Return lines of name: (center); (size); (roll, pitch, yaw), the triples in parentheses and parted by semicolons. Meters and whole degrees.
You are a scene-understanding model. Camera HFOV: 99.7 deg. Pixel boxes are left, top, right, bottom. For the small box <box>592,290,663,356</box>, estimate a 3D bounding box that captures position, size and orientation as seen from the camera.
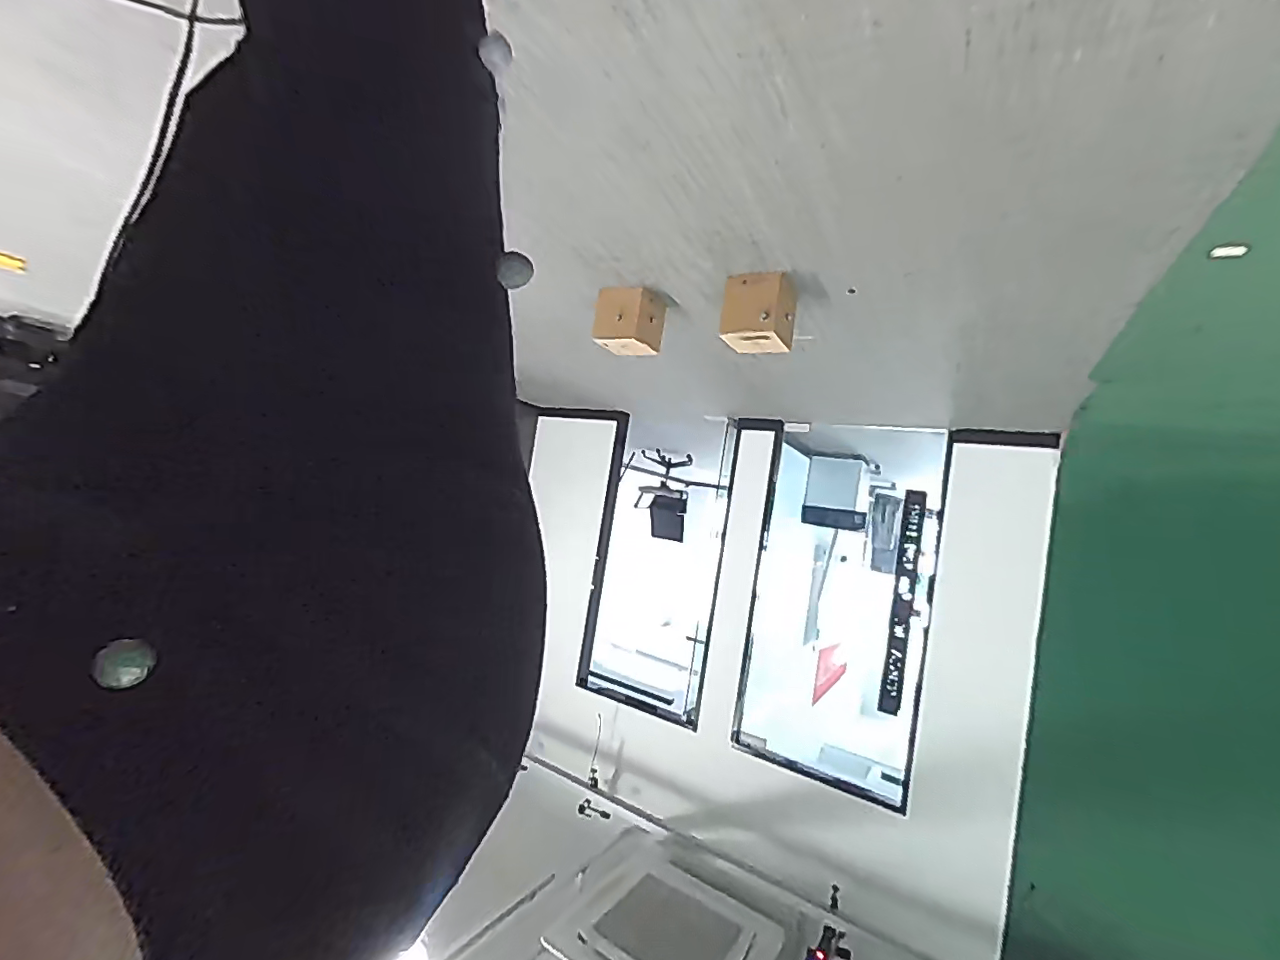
small box: (-0.036, -0.520, 1.792); (0.179, 0.176, 0.168); (6, 176, 31)
